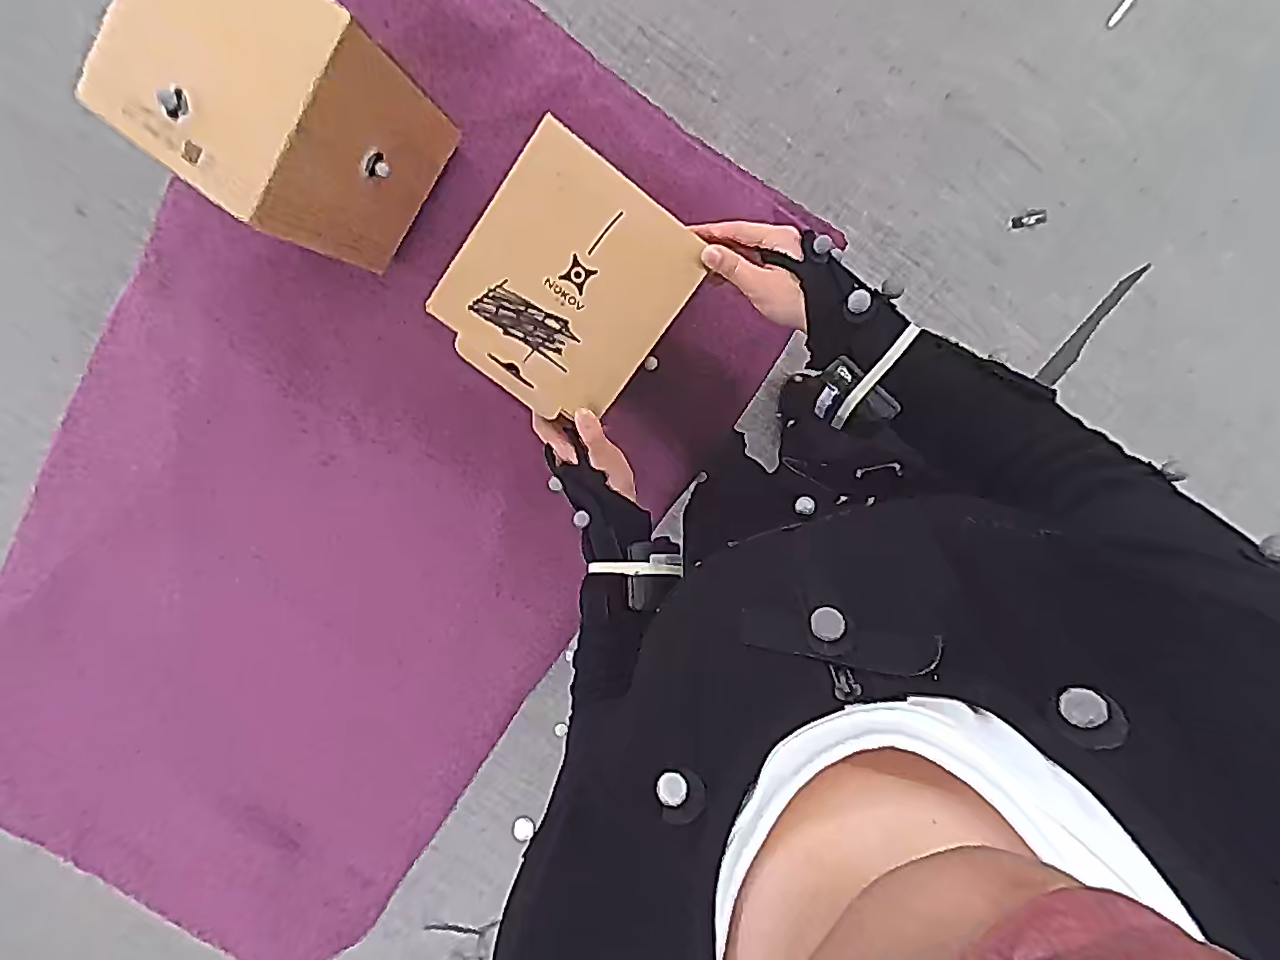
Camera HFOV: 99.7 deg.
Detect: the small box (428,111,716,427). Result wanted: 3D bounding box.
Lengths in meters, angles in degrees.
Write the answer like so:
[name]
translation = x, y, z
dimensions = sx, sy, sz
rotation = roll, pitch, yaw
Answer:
[small box]
translation = -0.052, -0.175, 0.498
dimensions = 0.168, 0.176, 0.179
rotation = 37, 102, -8
